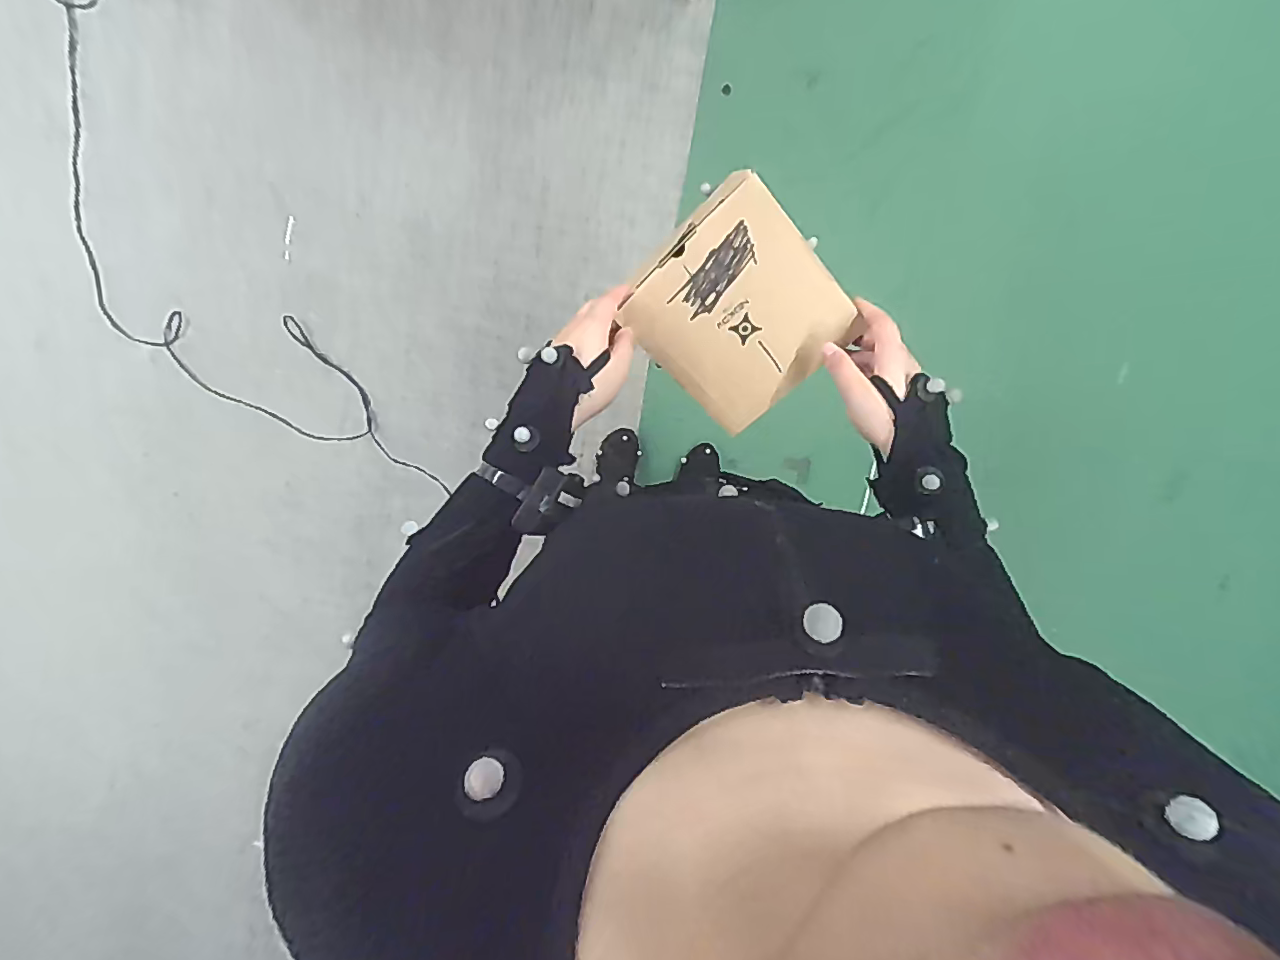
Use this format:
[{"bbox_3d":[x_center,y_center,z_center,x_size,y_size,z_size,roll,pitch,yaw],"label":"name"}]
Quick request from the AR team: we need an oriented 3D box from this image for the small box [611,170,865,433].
[{"bbox_3d":[0.092,-0.186,0.562,0.168,0.176,0.179,-40,110,23],"label":"small box"}]
